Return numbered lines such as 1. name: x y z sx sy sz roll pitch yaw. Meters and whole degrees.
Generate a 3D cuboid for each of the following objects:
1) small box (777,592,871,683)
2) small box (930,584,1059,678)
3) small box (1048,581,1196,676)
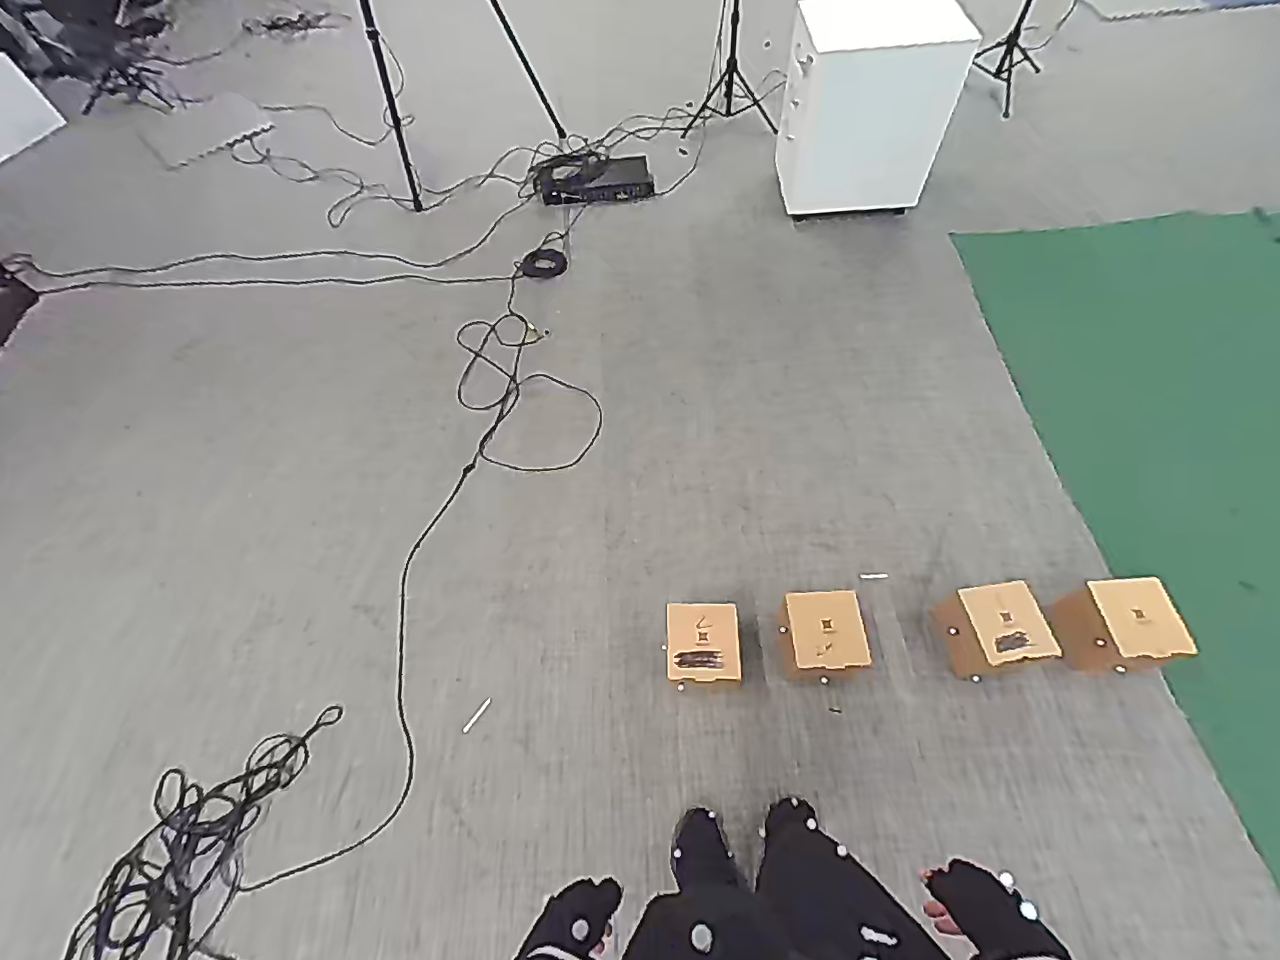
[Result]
1. small box: 0.434 0.384 1.309 0.168 0.176 0.179 -3 60 3
2. small box: 0.836 0.368 1.296 0.168 0.176 0.179 -7 58 -1
3. small box: 1.128 0.355 1.286 0.168 0.176 0.179 -4 59 2
